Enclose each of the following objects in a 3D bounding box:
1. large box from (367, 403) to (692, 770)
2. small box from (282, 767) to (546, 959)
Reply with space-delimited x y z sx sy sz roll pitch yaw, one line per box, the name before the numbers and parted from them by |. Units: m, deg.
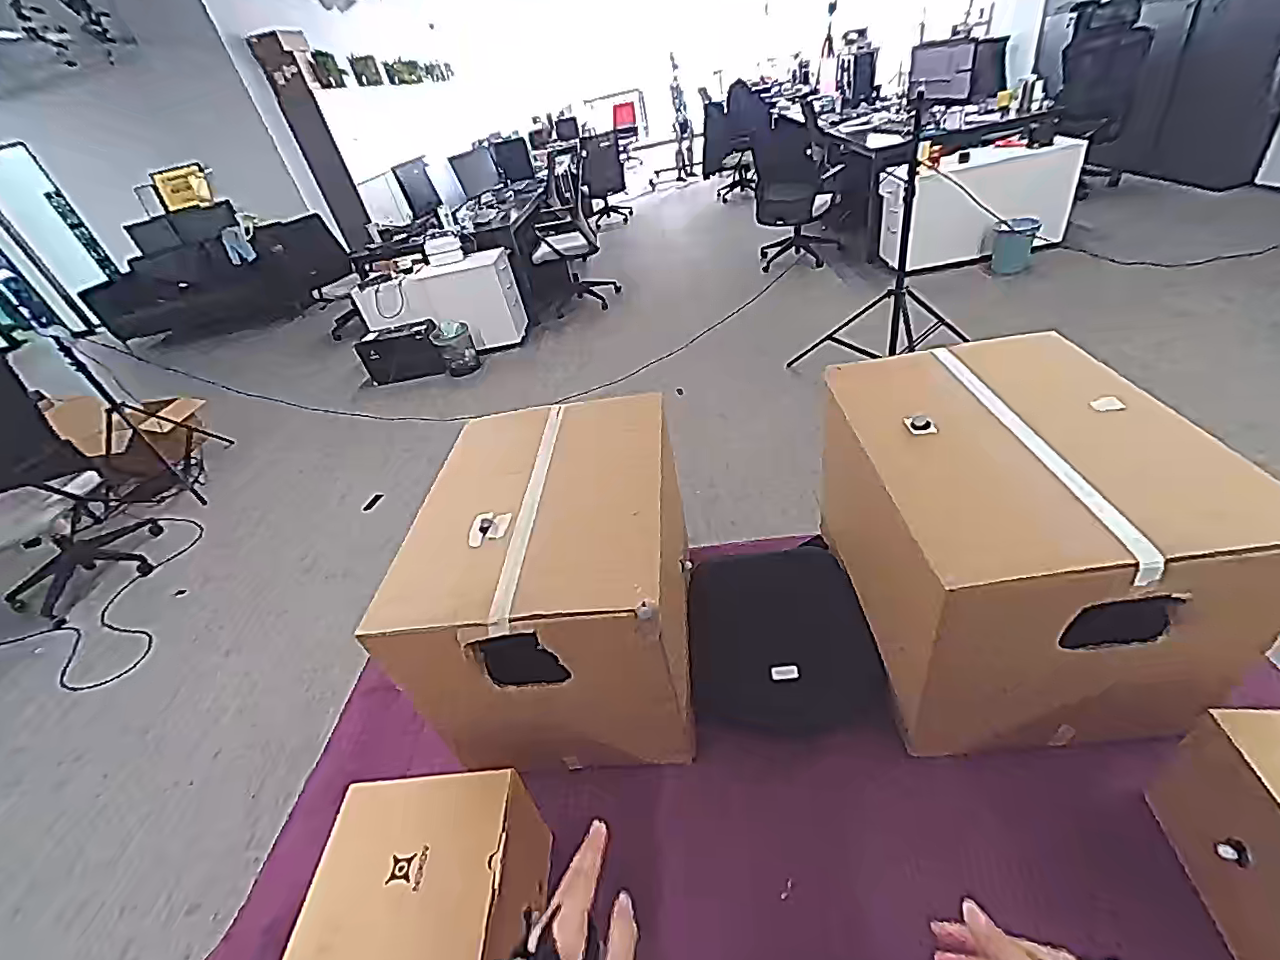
large box | -0.102 0.140 0.774 0.320 0.320 0.408 -8 39 8
small box | -0.207 0.422 0.547 0.179 0.176 0.168 -7 36 2
